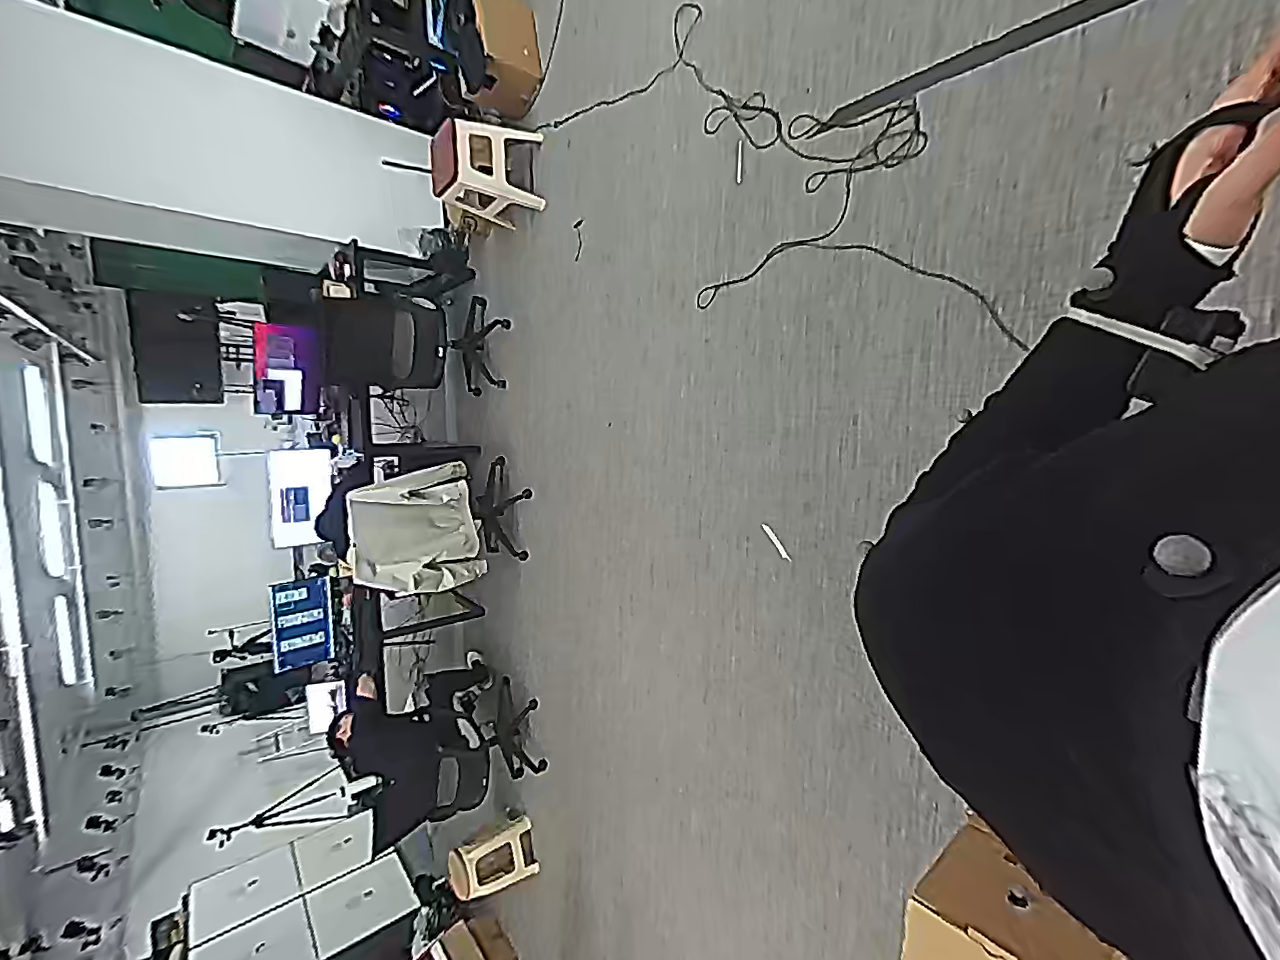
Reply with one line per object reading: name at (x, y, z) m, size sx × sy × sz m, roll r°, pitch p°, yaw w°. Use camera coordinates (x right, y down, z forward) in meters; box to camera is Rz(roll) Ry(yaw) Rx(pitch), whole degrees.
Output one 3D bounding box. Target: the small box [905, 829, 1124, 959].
small box at (0.416, 0.546, 0.608) m, size 0.168 × 0.176 × 0.179 m, roll 11°, pitch 101°, yaw 48°
